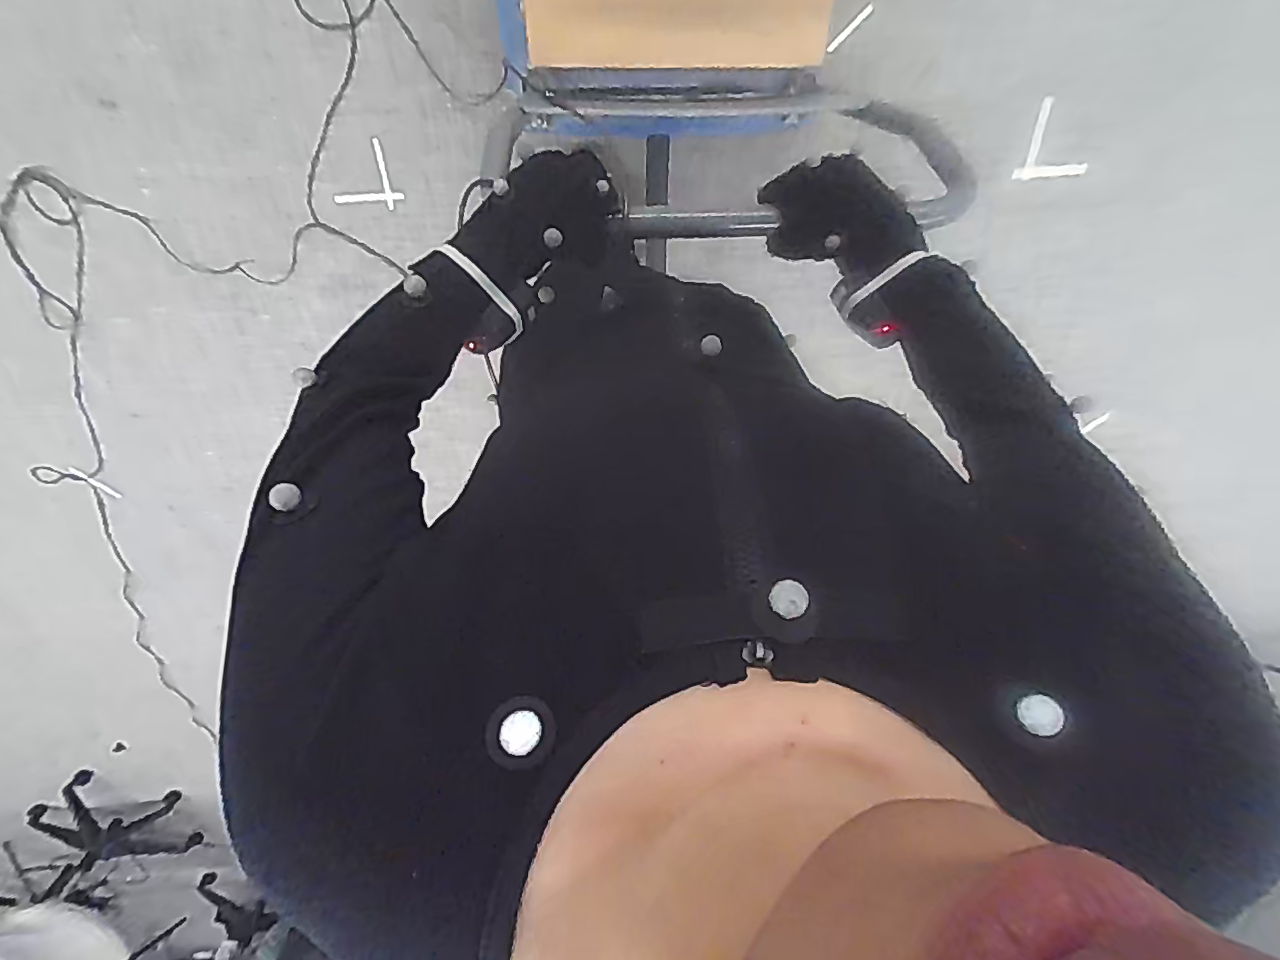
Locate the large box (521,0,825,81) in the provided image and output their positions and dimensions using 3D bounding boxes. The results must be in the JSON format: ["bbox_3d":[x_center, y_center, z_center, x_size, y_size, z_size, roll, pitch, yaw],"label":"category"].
[{"bbox_3d":[0.032,-0.767,0.769,0.408,0.320,0.320,-3,128,-3],"label":"large box"}]
